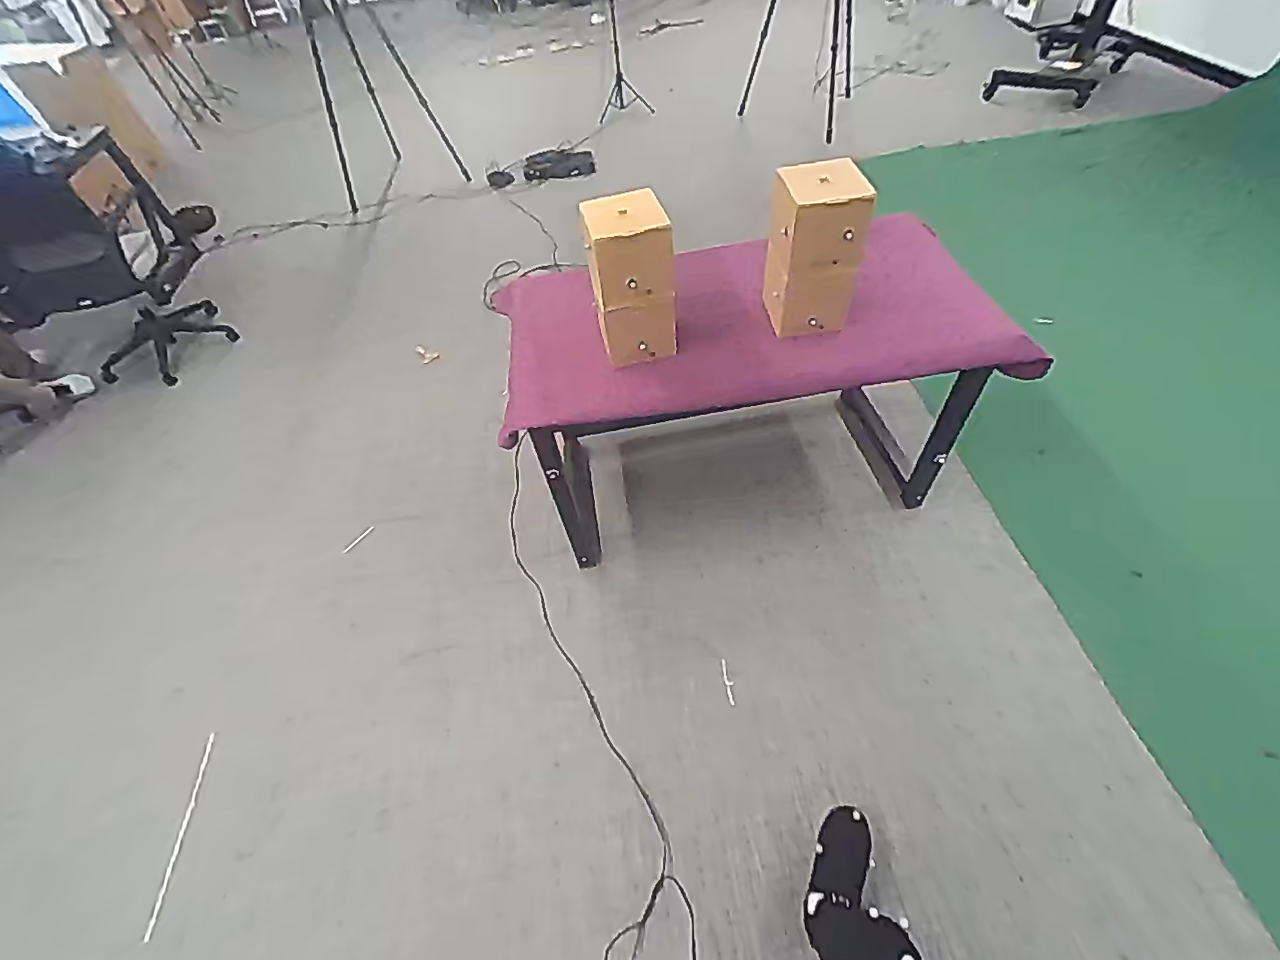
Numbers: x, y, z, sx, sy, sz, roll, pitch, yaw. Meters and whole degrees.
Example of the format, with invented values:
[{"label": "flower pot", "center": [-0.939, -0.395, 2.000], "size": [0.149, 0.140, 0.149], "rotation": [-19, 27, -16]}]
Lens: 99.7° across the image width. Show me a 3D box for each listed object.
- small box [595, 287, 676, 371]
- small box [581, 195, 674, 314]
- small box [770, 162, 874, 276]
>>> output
[{"label": "small box", "center": [-0.012, -0.397, 1.330], "size": [0.168, 0.176, 0.179], "rotation": [-13, 52, -2]}, {"label": "small box", "center": [-0.027, -0.501, 1.206], "size": [0.168, 0.176, 0.179], "rotation": [-15, 52, -4]}, {"label": "small box", "center": [0.394, -0.571, 1.203], "size": [0.168, 0.176, 0.179], "rotation": [-8, 52, 1]}]
